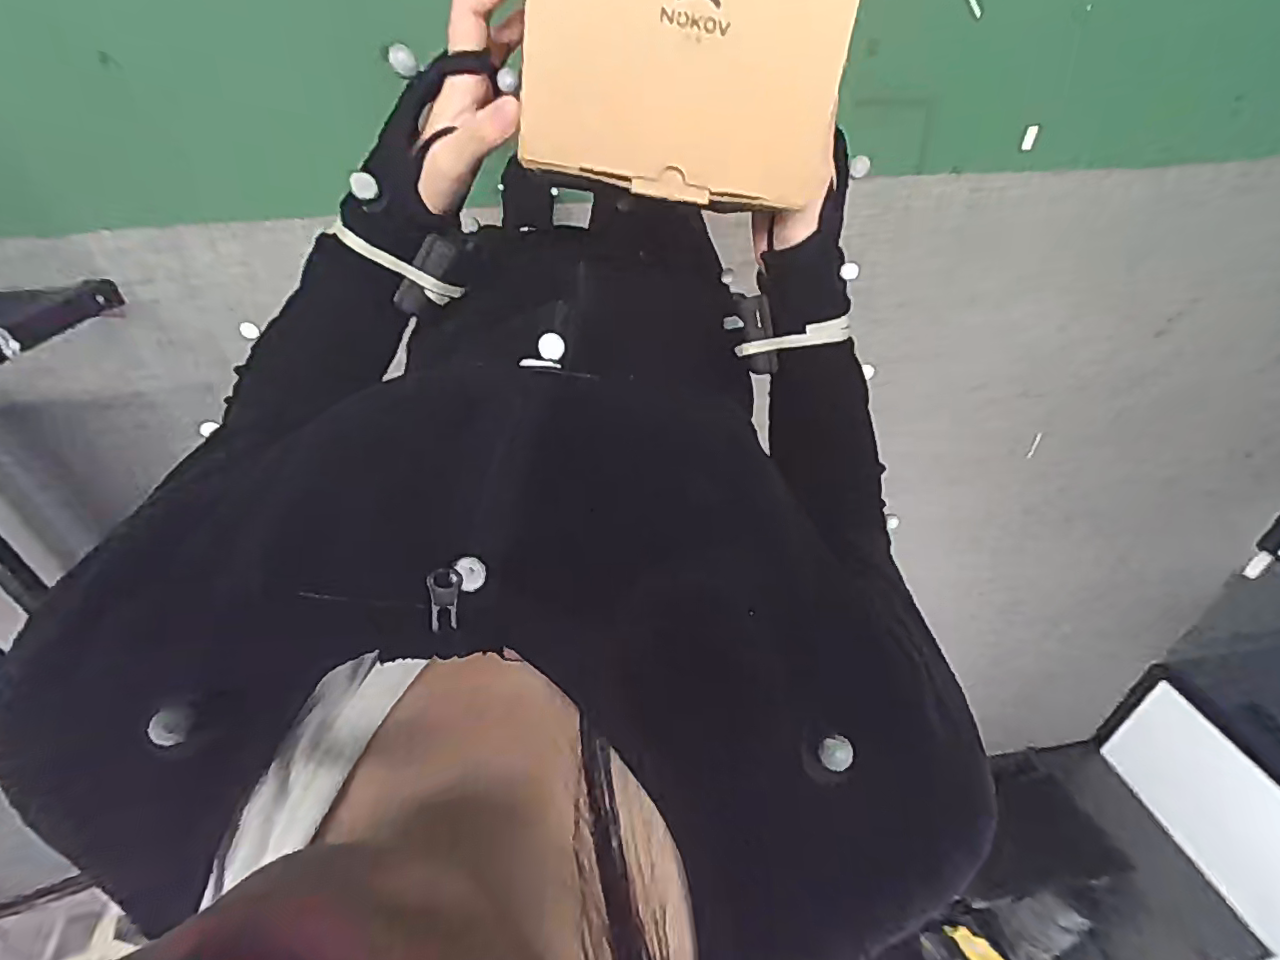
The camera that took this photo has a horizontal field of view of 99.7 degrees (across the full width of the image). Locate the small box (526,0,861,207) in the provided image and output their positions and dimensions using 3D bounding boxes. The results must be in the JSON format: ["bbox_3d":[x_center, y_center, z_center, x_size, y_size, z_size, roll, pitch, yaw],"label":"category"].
[{"bbox_3d":[0.018,-0.276,0.332,0.168,0.176,0.179,3,116,-11],"label":"small box"}]
